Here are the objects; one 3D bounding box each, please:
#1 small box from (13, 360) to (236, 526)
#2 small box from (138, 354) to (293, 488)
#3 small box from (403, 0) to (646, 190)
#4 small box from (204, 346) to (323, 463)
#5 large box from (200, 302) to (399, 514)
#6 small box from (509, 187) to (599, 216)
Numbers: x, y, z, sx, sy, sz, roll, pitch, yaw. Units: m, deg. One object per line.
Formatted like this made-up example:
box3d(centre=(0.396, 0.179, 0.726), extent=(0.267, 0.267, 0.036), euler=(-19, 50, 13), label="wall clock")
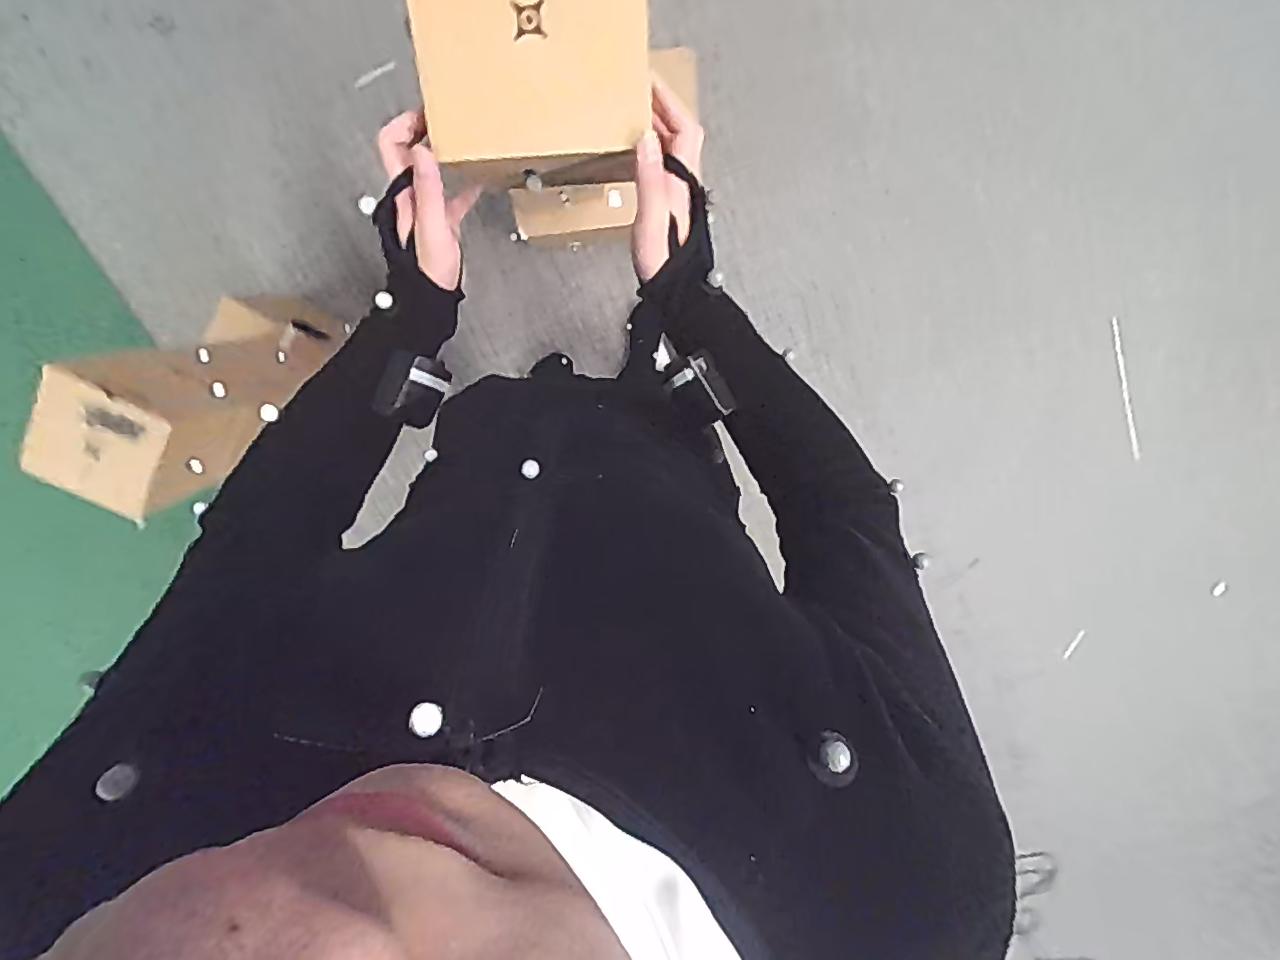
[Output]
box3d(centre=(-0.771, -0.065, 0.830), extent=(0.168, 0.176, 0.179), euler=(30, 105, -12), label="small box")
box3d(centre=(-0.787, -0.116, 0.985), extent=(0.179, 0.176, 0.168), euler=(31, 104, -14), label="small box")
box3d(centre=(-0.079, -0.347, 0.445), extent=(0.168, 0.176, 0.179), euler=(-3, 110, 1), label="small box")
box3d(centre=(-0.805, -0.167, 1.138), extent=(0.168, 0.176, 0.179), euler=(30, 104, -12), label="small box")
box3d(centre=(-0.886, -0.198, 1.382), extent=(0.320, 0.320, 0.408), euler=(30, 104, -11), label="large box")
box3d(centre=(-0.176, -0.621, 1.037), extent=(0.168, 0.176, 0.179), euler=(-15, 109, 0), label="small box")
